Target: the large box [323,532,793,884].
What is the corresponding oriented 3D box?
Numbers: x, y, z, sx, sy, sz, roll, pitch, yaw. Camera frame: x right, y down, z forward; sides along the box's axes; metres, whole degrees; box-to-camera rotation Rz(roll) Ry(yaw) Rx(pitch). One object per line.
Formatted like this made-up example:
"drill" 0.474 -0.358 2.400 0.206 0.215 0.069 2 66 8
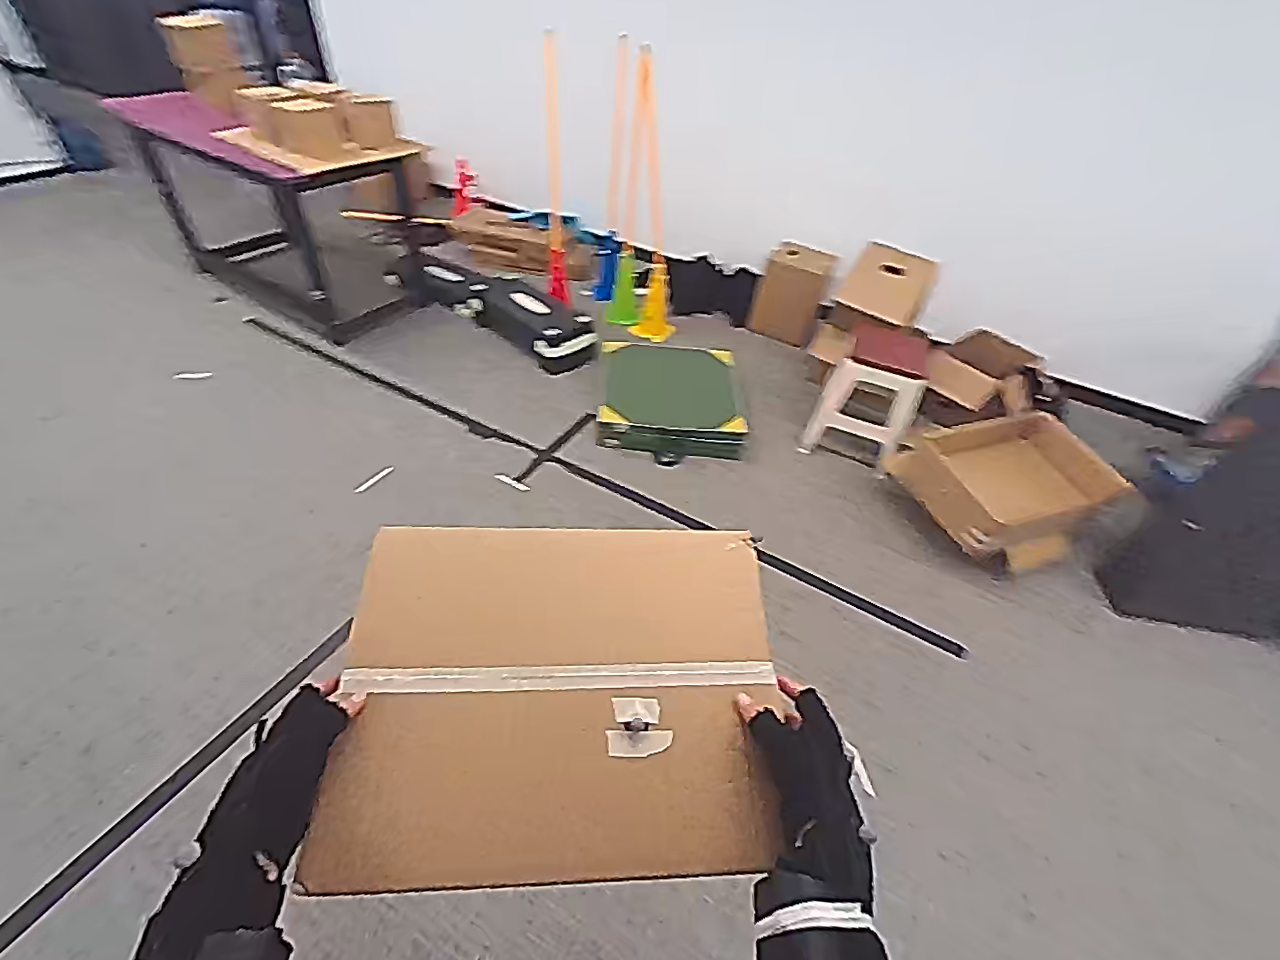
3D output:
"large box" -0.084 0.269 0.656 0.408 0.320 0.320 1 59 -6
